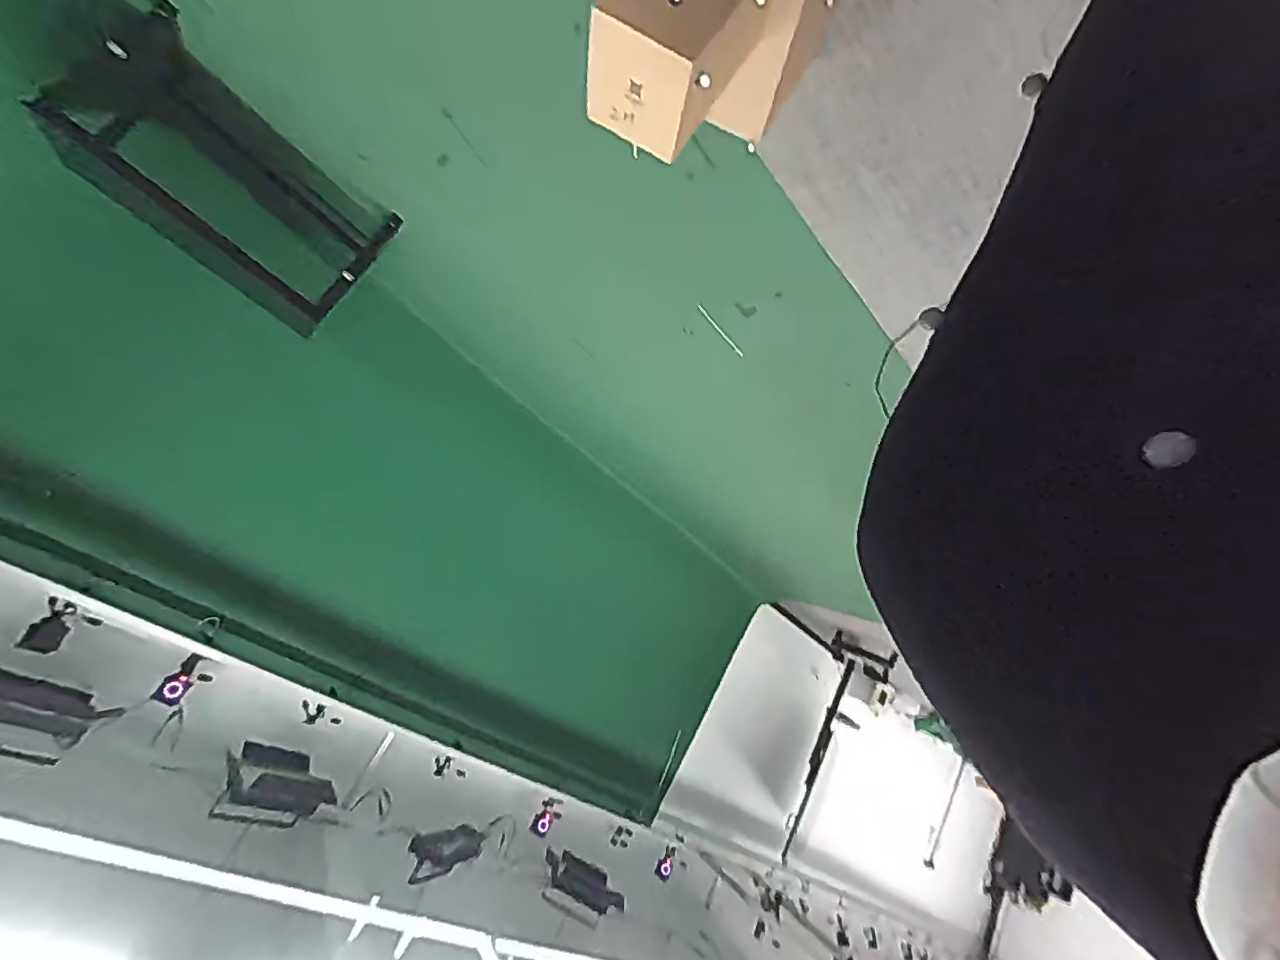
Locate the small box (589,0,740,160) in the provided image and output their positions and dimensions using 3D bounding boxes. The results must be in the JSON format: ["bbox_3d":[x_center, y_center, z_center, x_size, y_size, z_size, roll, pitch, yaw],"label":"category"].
[{"bbox_3d":[0.036,-0.667,0.851,0.168,0.176,0.179,31,164,1],"label":"small box"}]

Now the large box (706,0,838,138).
[{"bbox_3d":[0.221,-0.992,1.036,0.320,0.320,0.408,30,165,6],"label":"large box"}]
